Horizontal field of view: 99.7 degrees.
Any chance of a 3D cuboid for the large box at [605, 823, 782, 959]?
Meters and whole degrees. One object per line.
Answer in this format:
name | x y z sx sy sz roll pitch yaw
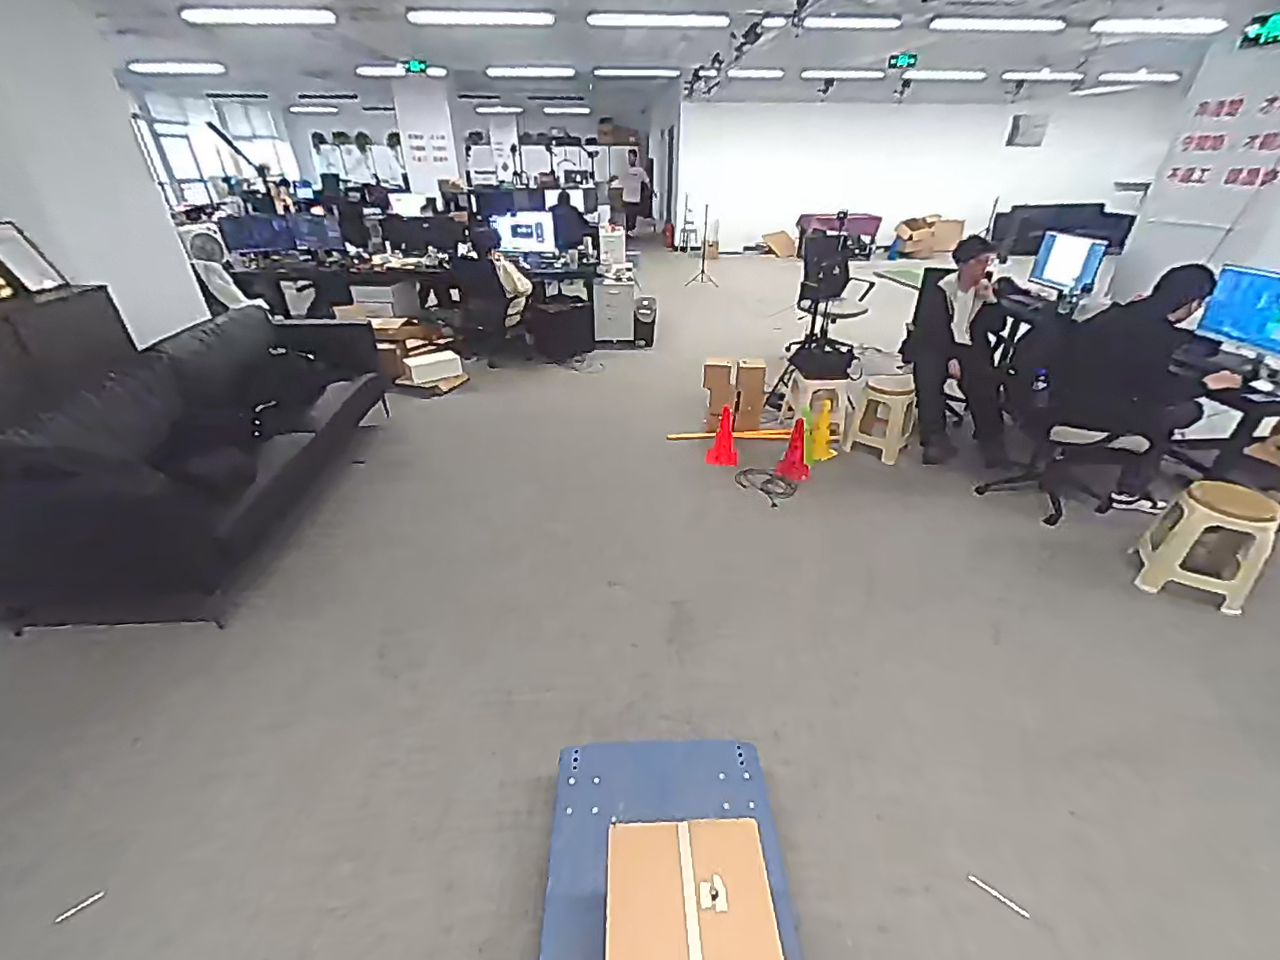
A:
large box | 0.095 0.958 1.037 0.320 0.320 0.408 -1 29 -2
